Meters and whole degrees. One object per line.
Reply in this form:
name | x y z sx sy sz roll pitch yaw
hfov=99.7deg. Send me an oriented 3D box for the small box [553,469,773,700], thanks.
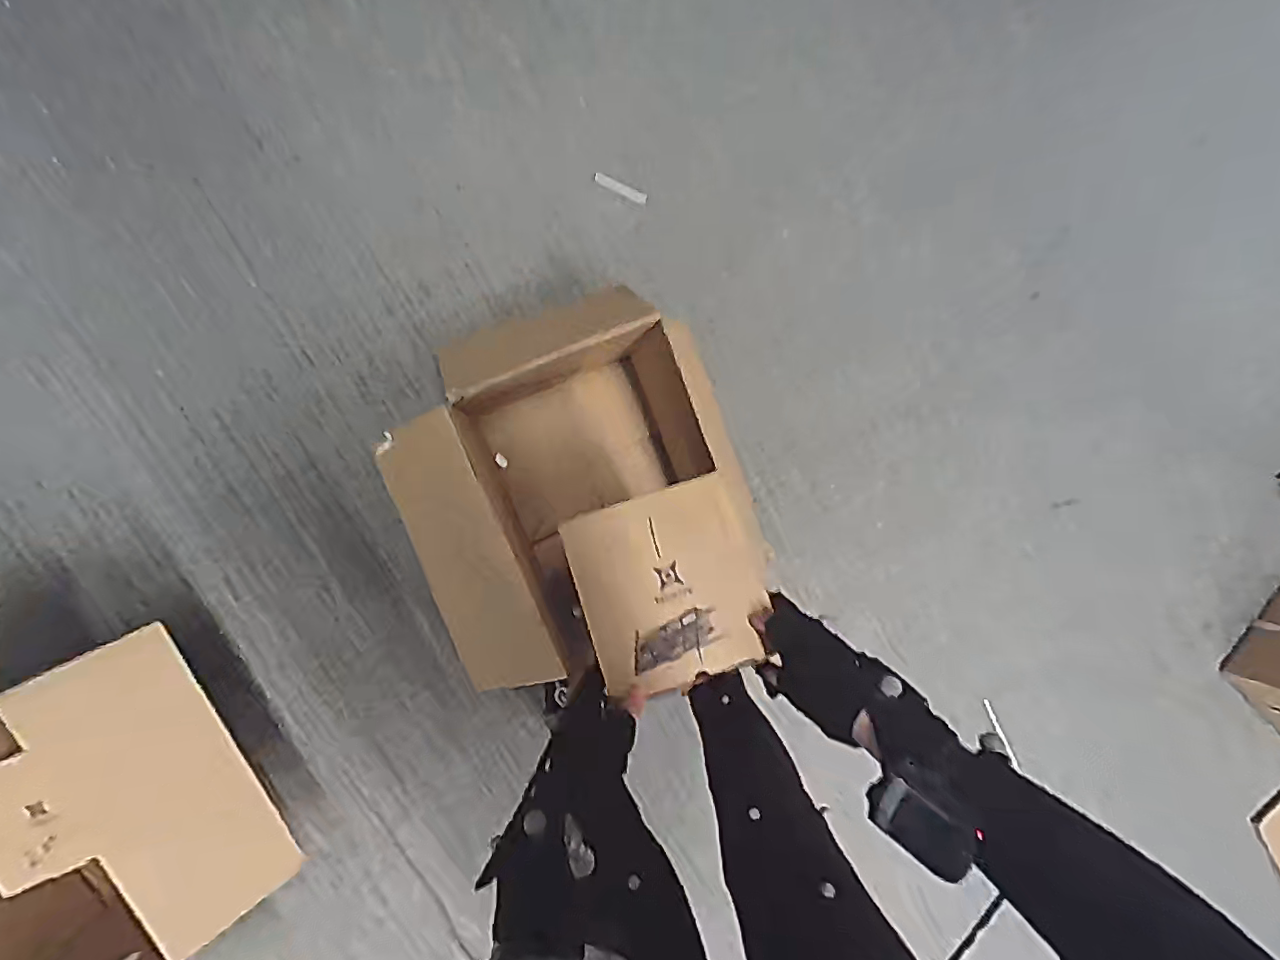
small box | 0.019 0.110 0.578 0.168 0.176 0.179 -18 77 -5
